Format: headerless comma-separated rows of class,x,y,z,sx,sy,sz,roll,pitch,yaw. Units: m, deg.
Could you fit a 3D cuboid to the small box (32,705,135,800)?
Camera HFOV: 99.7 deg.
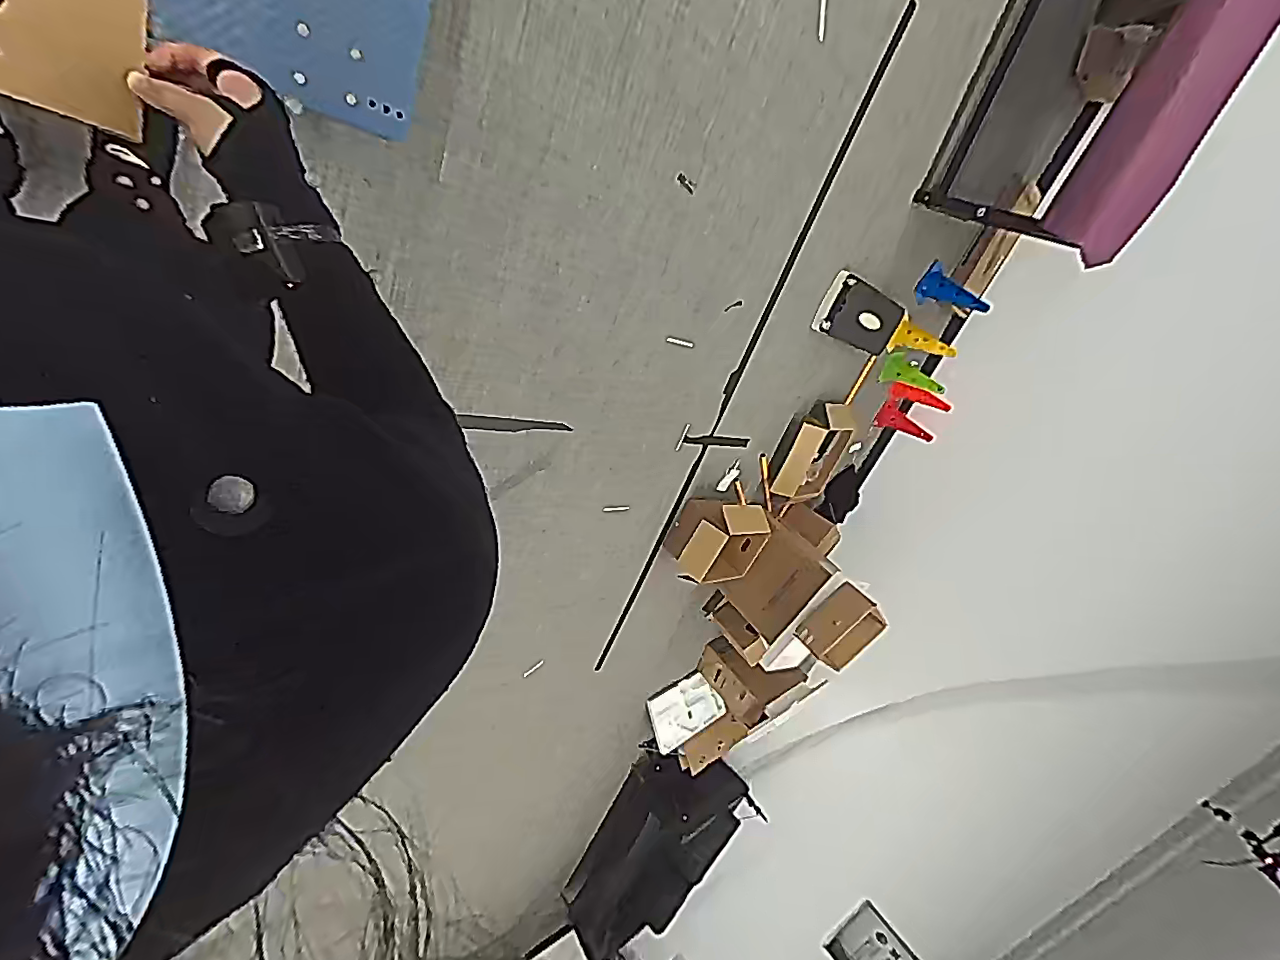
small box,-1.508,0.755,1.475,0.168,0.176,0.179,-15,133,-39

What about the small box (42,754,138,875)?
small box,-1.407,0.849,1.388,0.168,0.176,0.179,-1,123,-46
